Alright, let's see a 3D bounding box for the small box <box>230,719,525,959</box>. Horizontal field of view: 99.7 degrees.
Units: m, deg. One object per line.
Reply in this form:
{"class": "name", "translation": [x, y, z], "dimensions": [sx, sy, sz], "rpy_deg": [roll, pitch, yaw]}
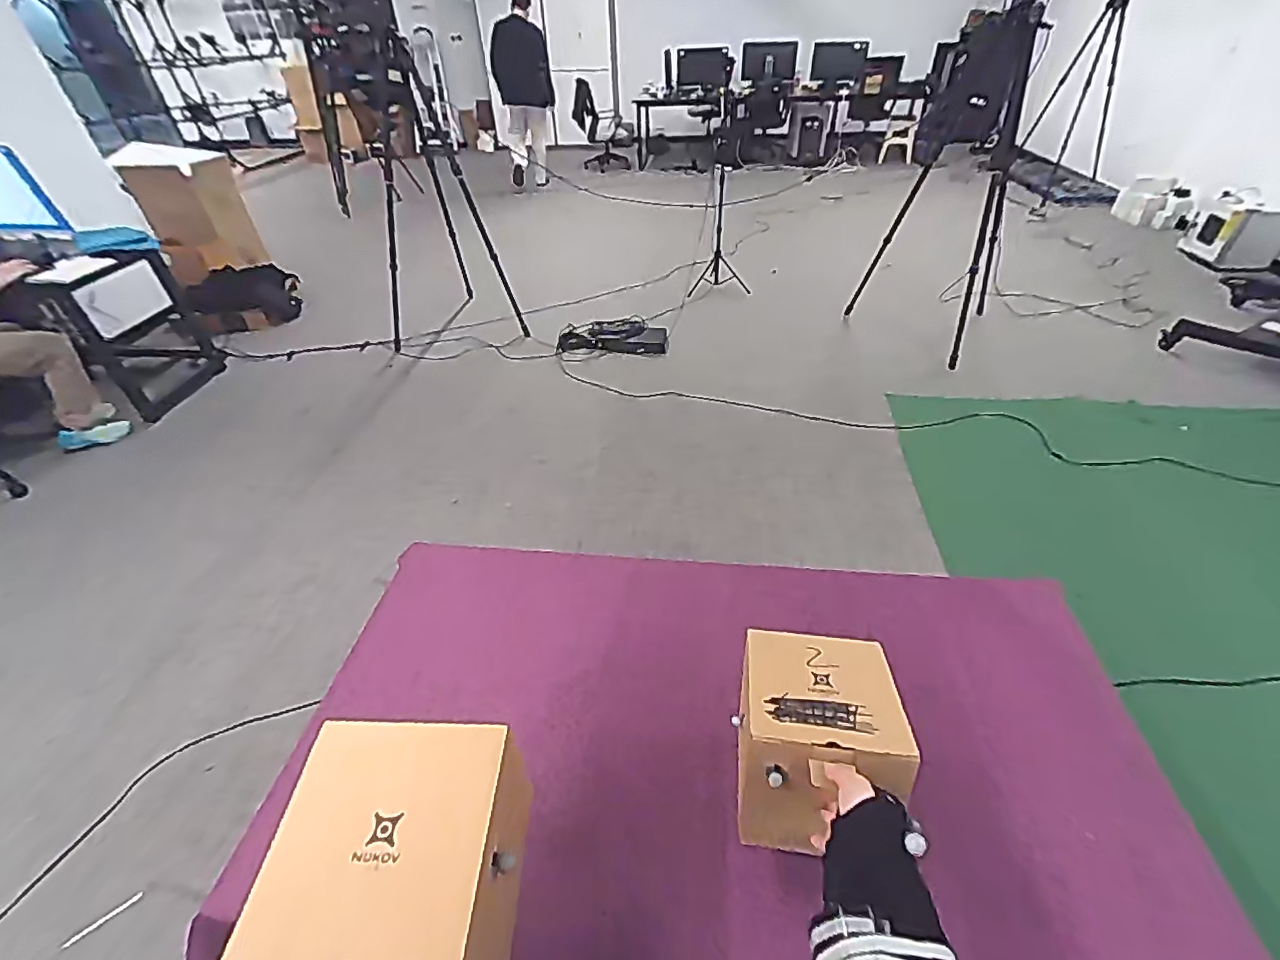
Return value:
{"class": "small box", "translation": [-0.205, 0.340, 0.489], "dimensions": [0.168, 0.176, 0.179], "rpy_deg": [1, 45, 0]}
